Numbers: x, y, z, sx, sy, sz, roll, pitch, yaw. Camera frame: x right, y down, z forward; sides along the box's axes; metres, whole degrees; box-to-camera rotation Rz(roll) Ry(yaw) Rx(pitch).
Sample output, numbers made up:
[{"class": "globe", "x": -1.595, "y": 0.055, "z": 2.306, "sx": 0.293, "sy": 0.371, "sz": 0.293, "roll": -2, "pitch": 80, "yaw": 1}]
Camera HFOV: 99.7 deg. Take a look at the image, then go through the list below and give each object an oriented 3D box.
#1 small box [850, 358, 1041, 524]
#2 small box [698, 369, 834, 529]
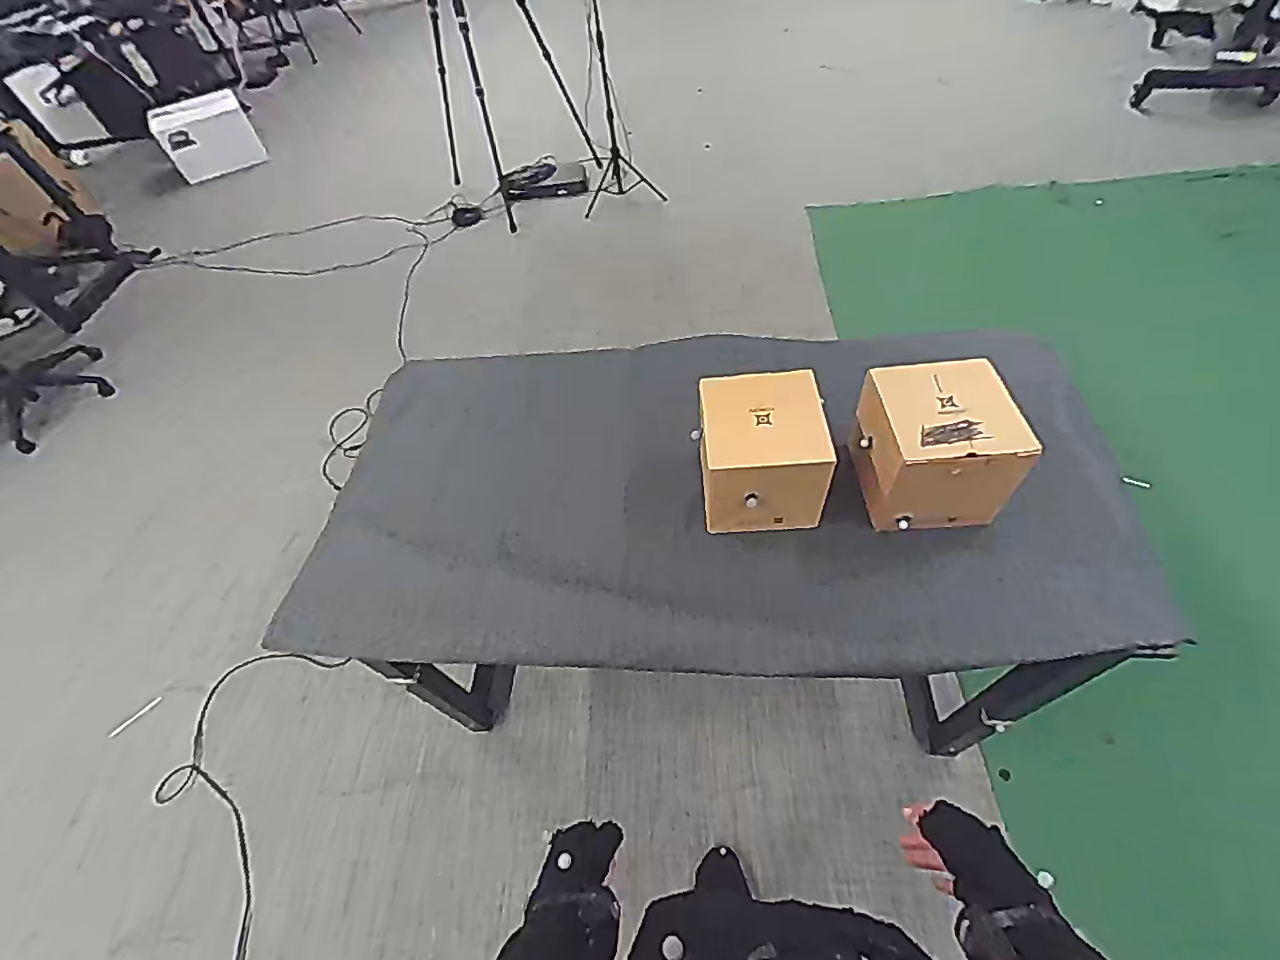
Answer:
[{"class": "small box", "x": 0.415, "y": -0.047, "z": 0.771, "sx": 0.168, "sy": 0.176, "sz": 0.179, "roll": -4, "pitch": 52, "yaw": 5}, {"class": "small box", "x": 0.177, "y": -0.037, "z": 0.802, "sx": 0.168, "sy": 0.176, "sz": 0.179, "roll": -4, "pitch": 52, "yaw": 5}]
